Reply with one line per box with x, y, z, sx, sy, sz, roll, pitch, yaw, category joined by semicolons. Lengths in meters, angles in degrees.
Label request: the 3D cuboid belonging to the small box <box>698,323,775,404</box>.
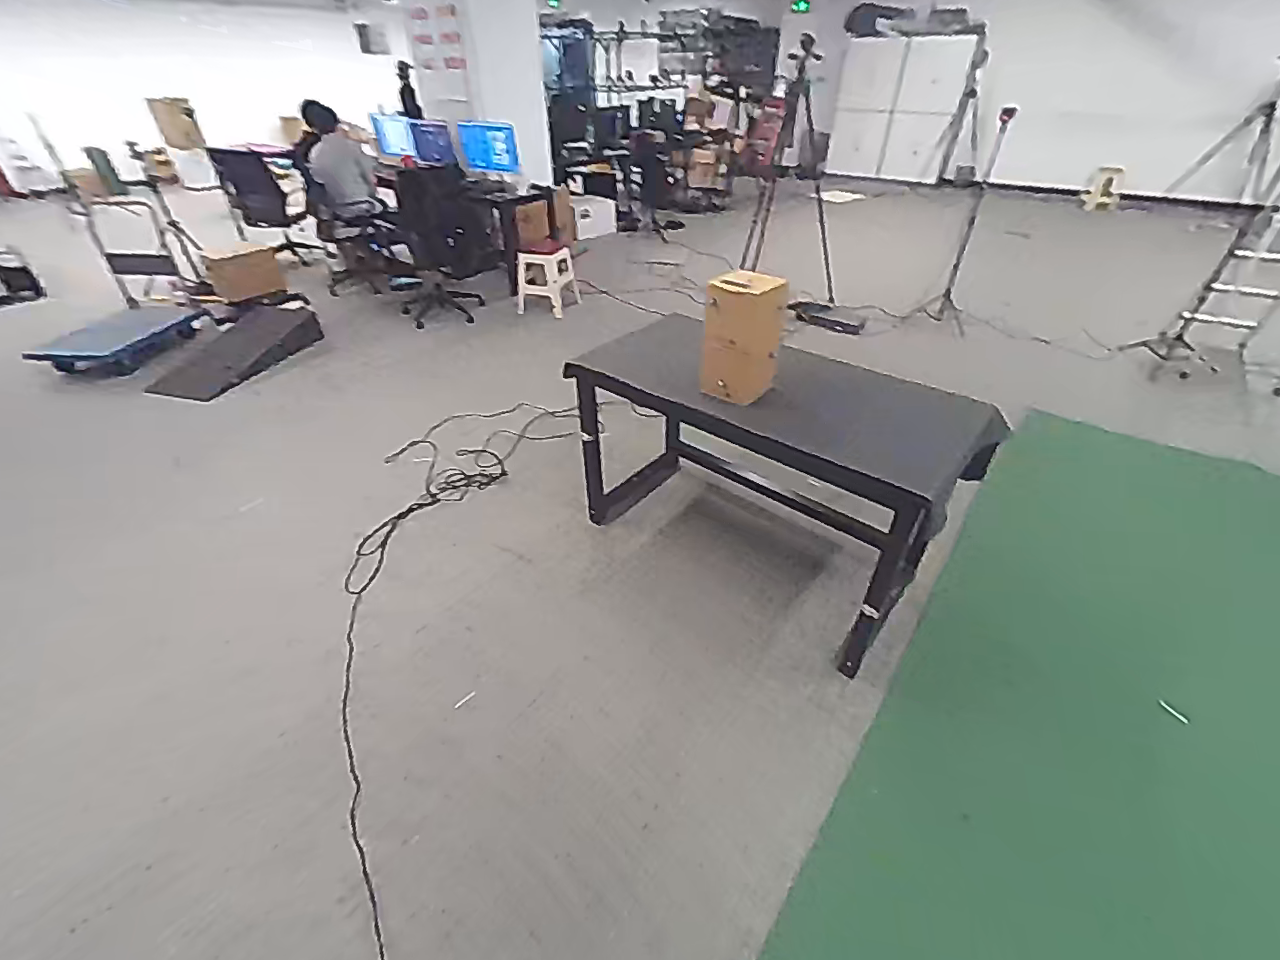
0.288;-0.355;1.646;0.168;0.176;0.179;25;44;30;small box
